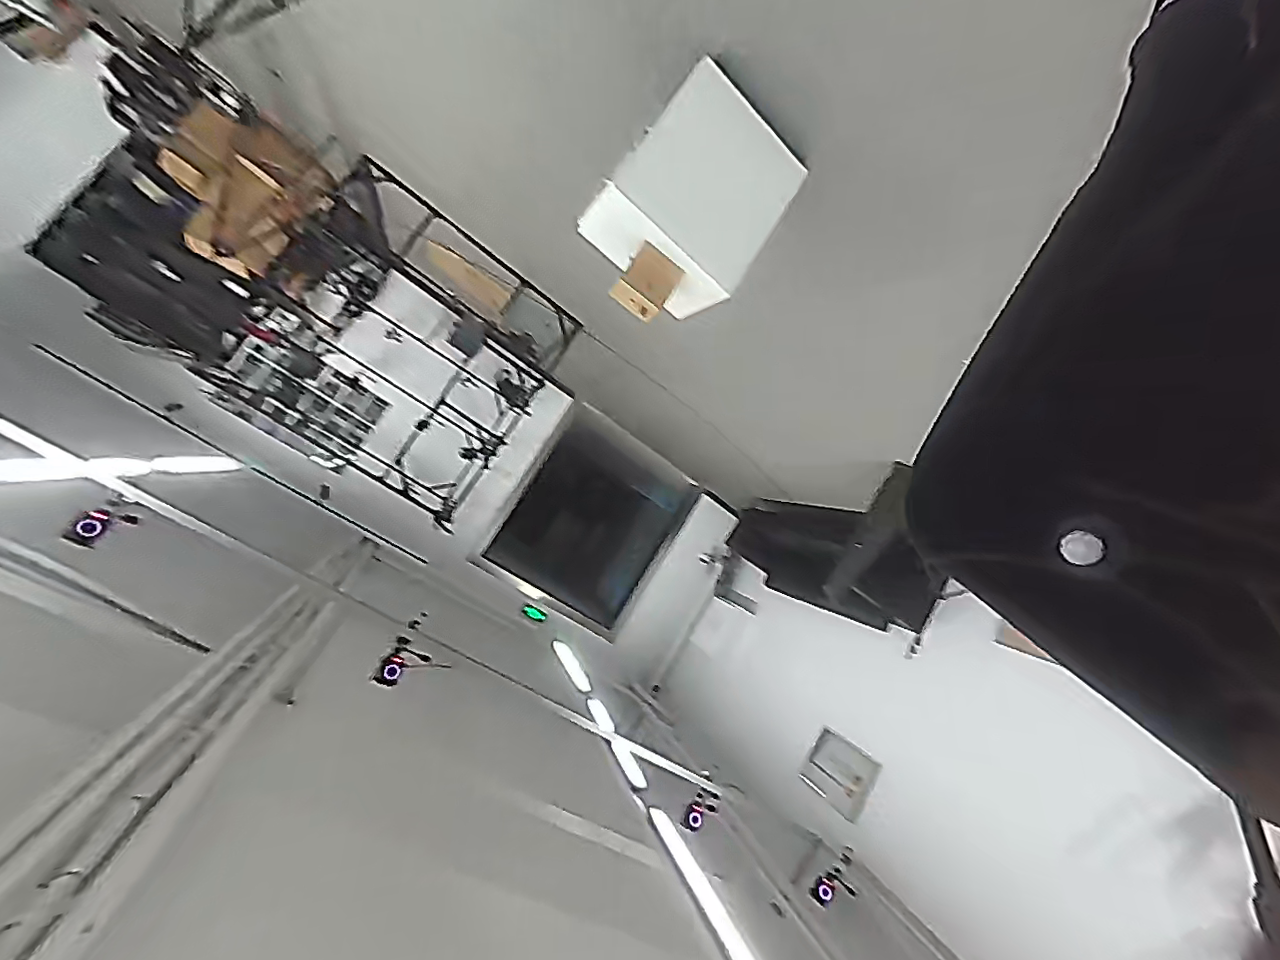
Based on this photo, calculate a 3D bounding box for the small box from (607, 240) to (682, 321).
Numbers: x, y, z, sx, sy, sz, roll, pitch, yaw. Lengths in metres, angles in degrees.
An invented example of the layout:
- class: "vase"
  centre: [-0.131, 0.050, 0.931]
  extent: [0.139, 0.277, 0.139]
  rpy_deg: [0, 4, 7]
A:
- class: "small box"
  centre: [0.017, -0.689, 1.873]
  extent: [0.179, 0.176, 0.168]
  rpy_deg: [35, 171, -14]
